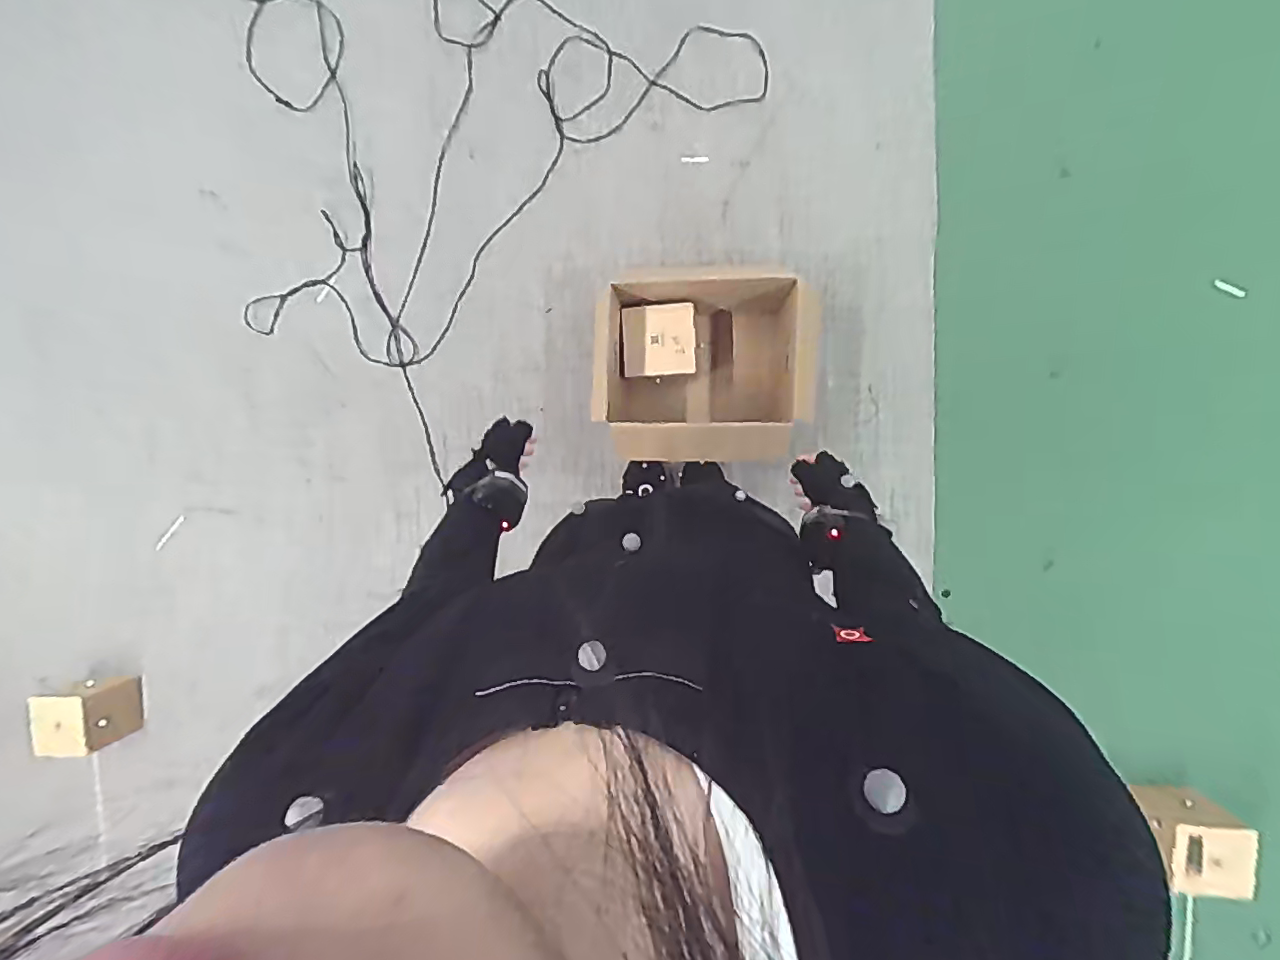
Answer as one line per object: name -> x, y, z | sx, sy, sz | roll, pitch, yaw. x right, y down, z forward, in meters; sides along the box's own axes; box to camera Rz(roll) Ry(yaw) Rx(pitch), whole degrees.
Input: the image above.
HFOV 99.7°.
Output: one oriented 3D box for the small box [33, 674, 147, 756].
small box -> -1.624, 0.691, 1.605 | 0.168, 0.176, 0.179 | -2, 94, 5
